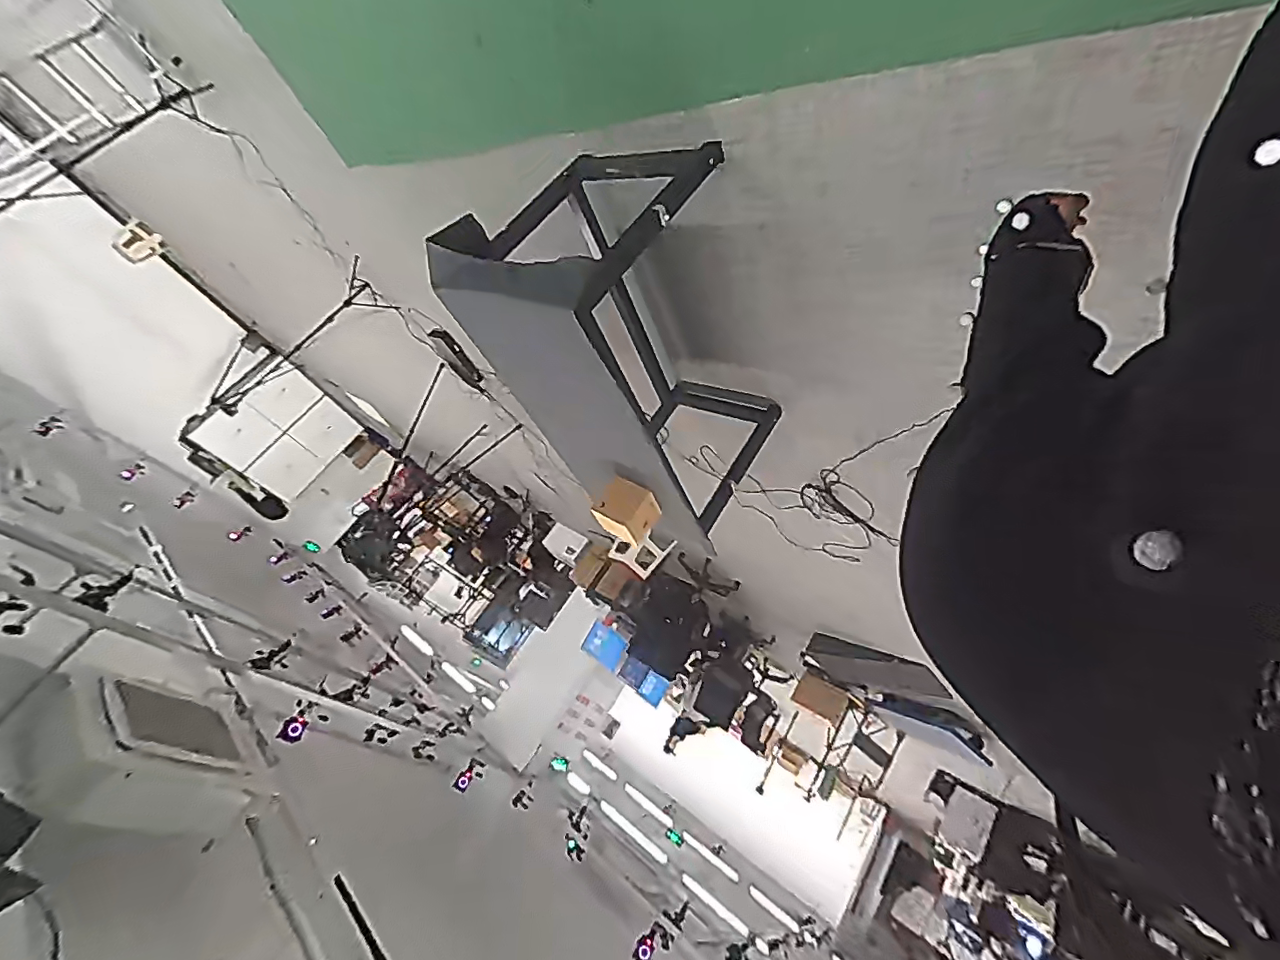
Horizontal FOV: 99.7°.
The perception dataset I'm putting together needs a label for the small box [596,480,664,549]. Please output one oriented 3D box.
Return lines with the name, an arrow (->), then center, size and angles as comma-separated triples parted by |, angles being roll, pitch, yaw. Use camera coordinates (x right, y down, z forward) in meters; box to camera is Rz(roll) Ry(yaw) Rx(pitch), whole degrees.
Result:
small box -> -0.028, 0.124, 2.012 | 0.179, 0.176, 0.168 | 24, 158, 32
